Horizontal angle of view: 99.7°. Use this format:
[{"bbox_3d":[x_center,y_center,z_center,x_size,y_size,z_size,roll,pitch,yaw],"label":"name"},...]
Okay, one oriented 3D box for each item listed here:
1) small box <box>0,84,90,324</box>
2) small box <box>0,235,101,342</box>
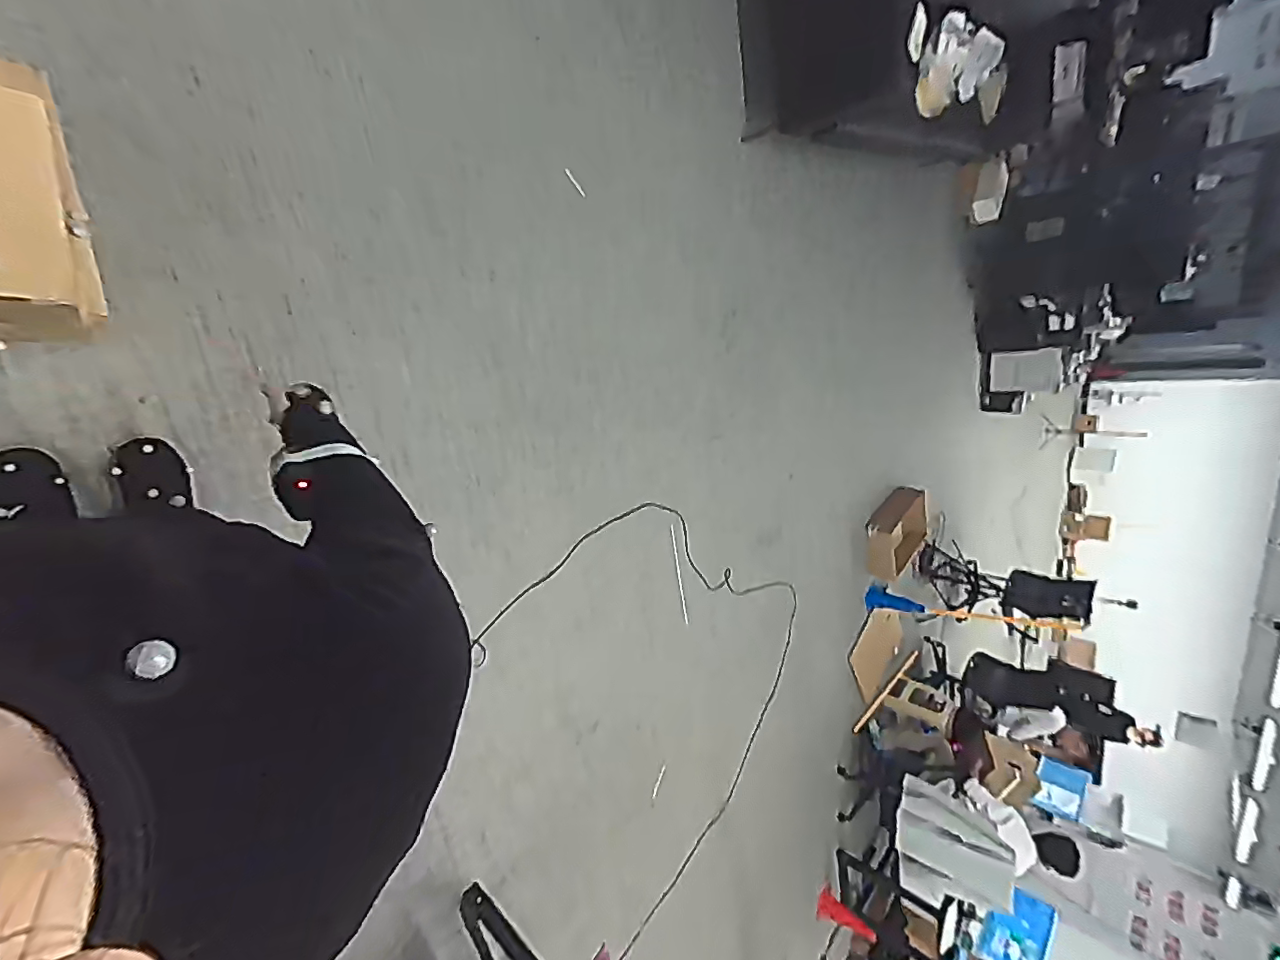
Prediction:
[{"bbox_3d":[-0.621,-0.242,0.481,0.168,0.176,0.179,-10,100,-43],"label":"small box"},{"bbox_3d":[-0.734,-0.253,0.601,0.168,0.176,0.179,-15,104,-42],"label":"small box"}]
